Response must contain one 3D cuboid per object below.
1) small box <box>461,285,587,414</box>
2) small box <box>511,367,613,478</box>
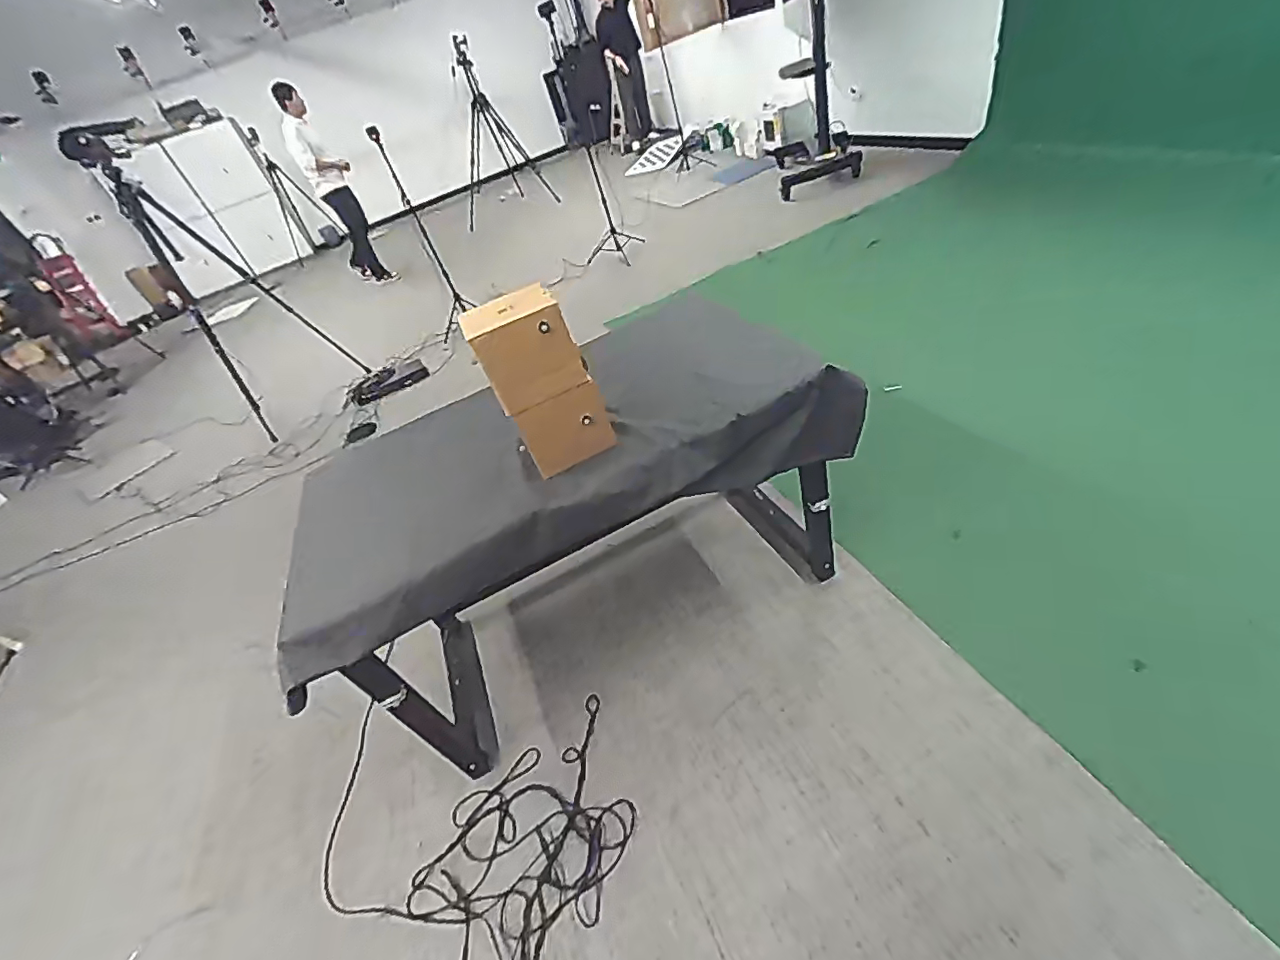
[{"bbox_3d":[-0.226,-0.254,1.058,0.179,0.176,0.168,-26,37,-7],"label":"small box"},{"bbox_3d":[-0.172,-0.136,1.156,0.179,0.176,0.168,-28,38,-8],"label":"small box"}]
